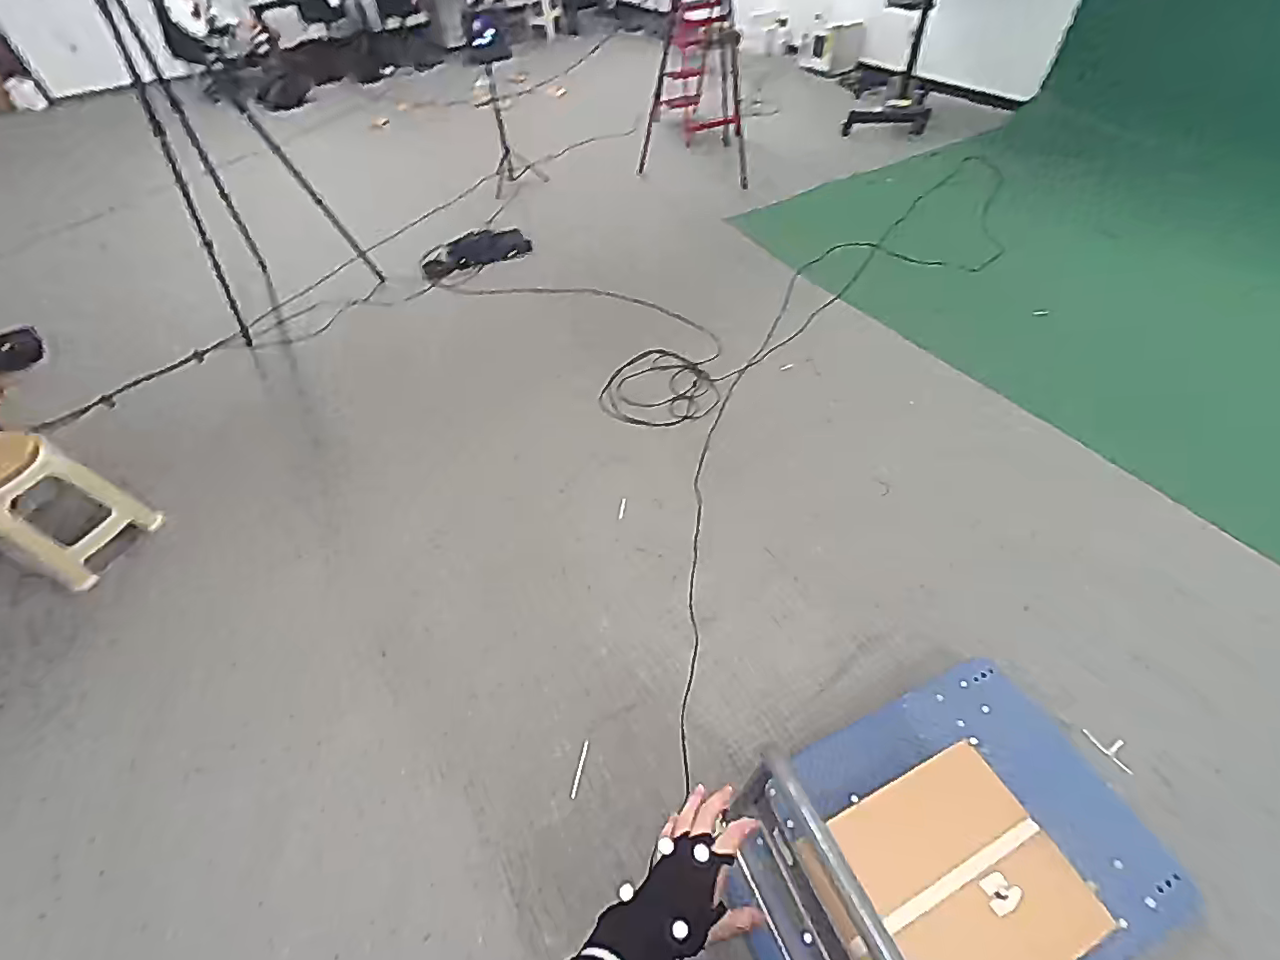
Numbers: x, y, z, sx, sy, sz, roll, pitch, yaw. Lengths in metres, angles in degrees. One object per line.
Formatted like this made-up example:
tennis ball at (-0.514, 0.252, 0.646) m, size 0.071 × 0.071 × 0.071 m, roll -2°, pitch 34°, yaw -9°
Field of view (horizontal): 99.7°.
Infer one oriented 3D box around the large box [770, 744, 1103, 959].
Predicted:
large box at (0.512, 0.782, 1.019) m, size 0.408 × 0.320 × 0.320 m, roll -21°, pitch 51°, yaw -15°
